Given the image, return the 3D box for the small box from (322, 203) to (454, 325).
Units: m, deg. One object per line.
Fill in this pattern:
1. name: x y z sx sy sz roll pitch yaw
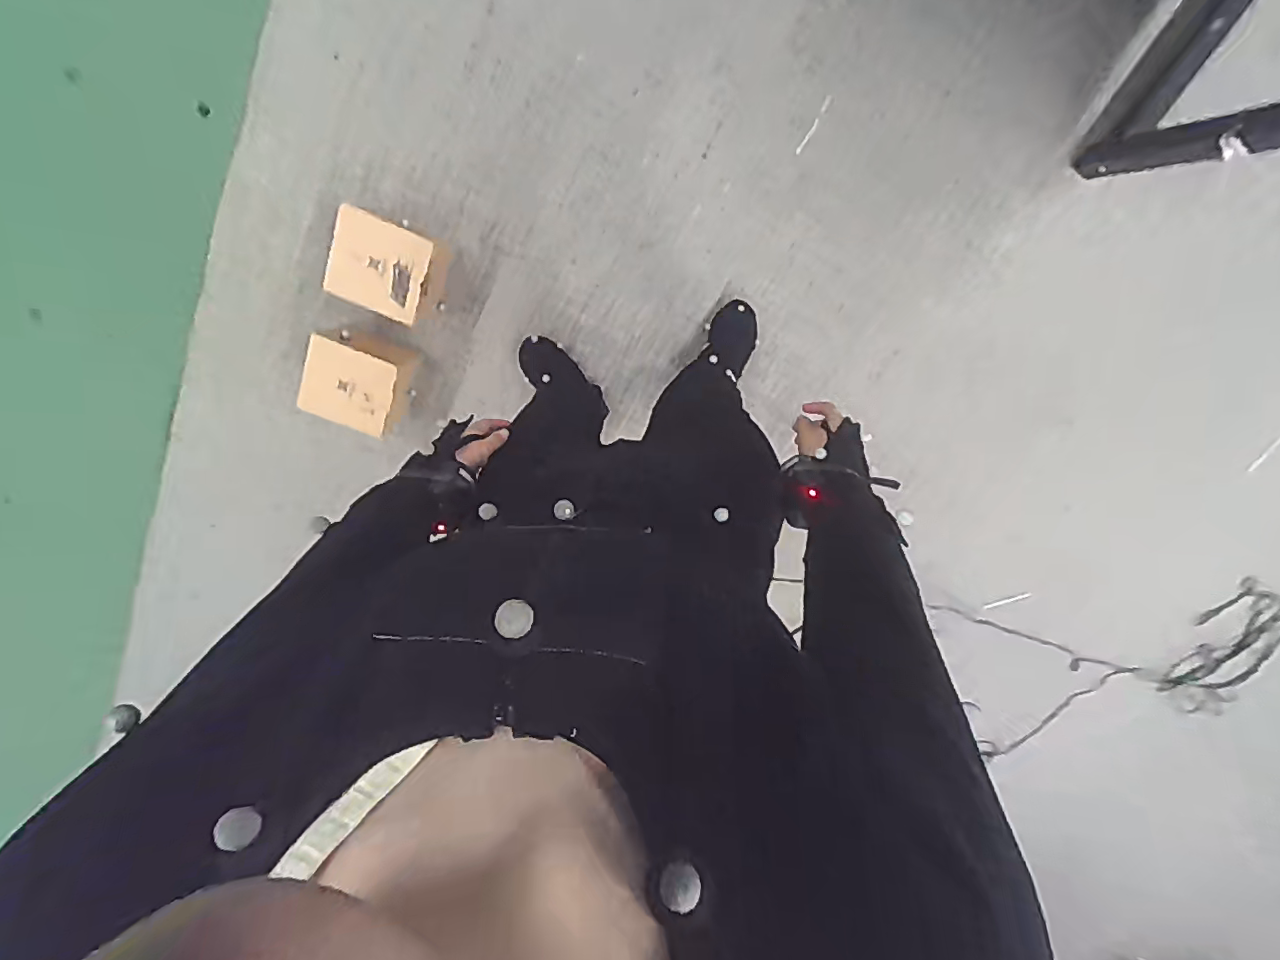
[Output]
1. small box: -0.496 -0.434 1.089 0.179 0.176 0.168 21 109 -11

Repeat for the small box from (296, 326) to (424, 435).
1. small box: -0.599 -0.223 1.172 0.179 0.176 0.168 21 111 -11
